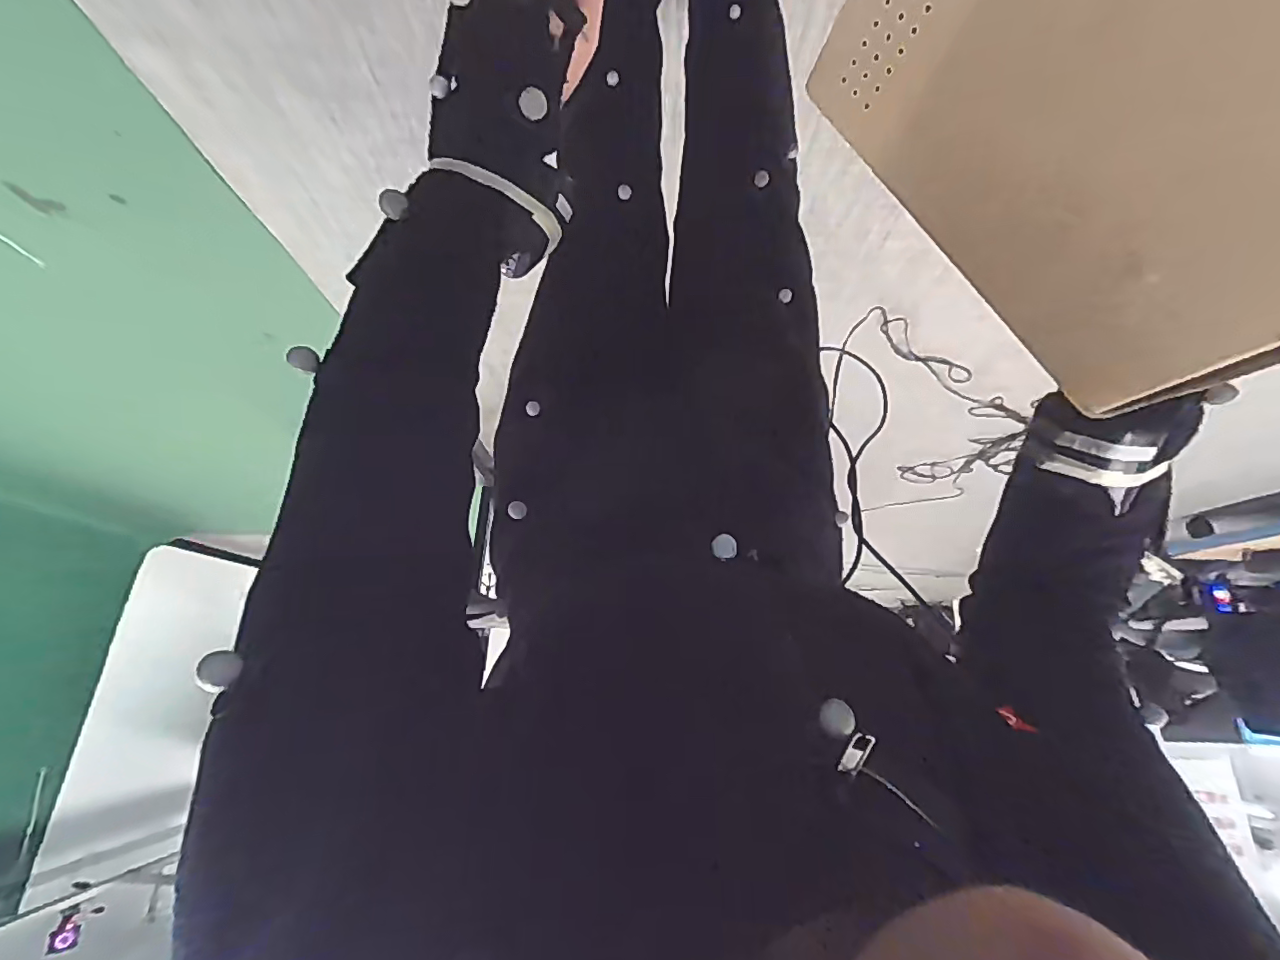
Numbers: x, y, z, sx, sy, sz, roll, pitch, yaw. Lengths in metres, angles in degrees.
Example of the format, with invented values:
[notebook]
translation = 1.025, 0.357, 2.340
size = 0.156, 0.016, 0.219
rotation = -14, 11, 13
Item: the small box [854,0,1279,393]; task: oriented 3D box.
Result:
[small box]
translation = 0.190, -0.158, 0.142
size = 0.168, 0.176, 0.179
rotation = -35, 174, -17
